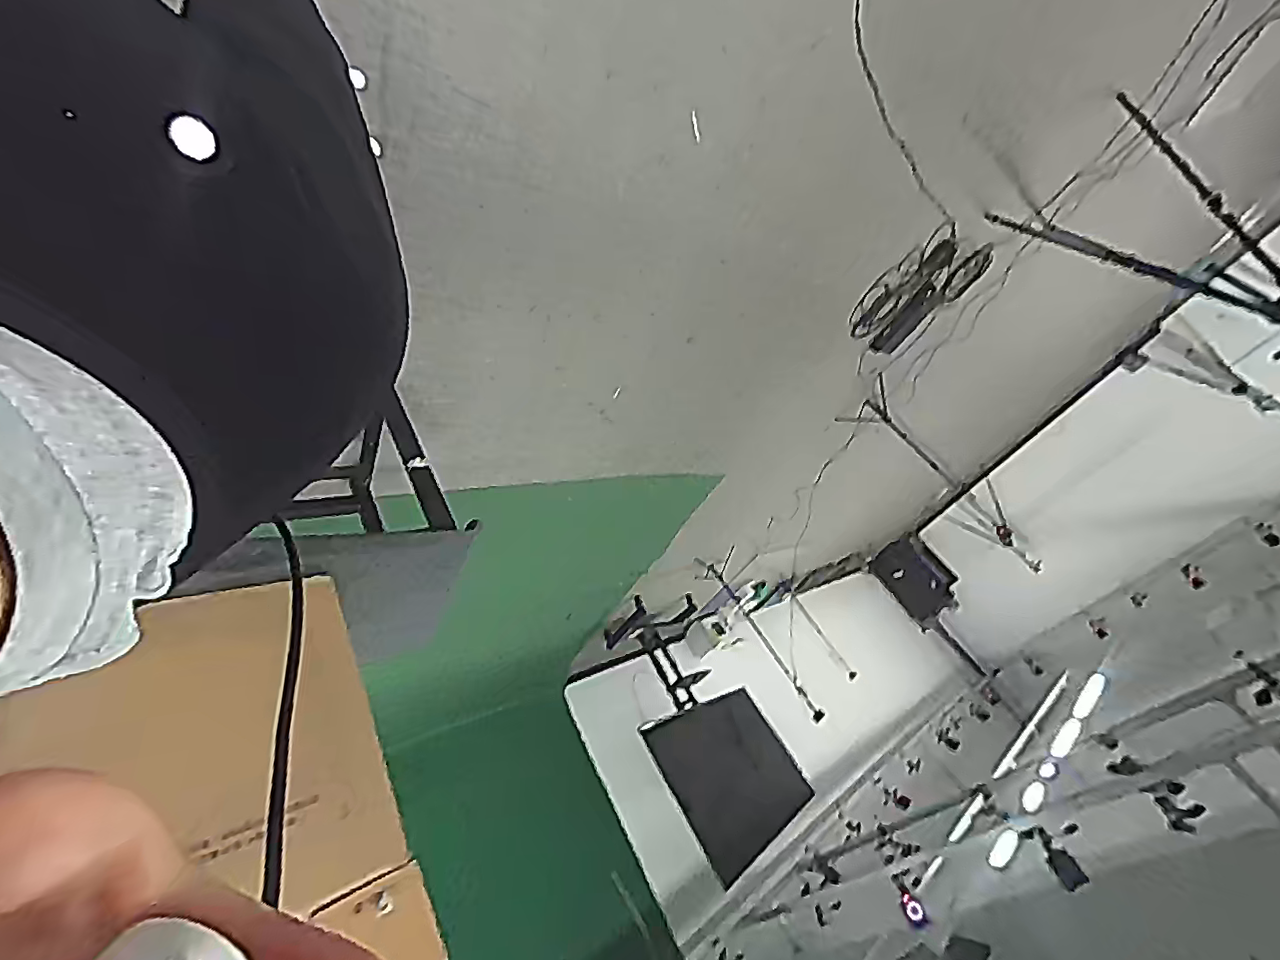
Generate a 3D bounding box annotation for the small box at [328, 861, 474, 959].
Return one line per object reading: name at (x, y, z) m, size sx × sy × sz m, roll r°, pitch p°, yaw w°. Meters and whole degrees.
small box at (-0.415, 0.800, 0.927) m, size 0.168 × 0.176 × 0.179 m, roll -7°, pitch 140°, yaw -46°
